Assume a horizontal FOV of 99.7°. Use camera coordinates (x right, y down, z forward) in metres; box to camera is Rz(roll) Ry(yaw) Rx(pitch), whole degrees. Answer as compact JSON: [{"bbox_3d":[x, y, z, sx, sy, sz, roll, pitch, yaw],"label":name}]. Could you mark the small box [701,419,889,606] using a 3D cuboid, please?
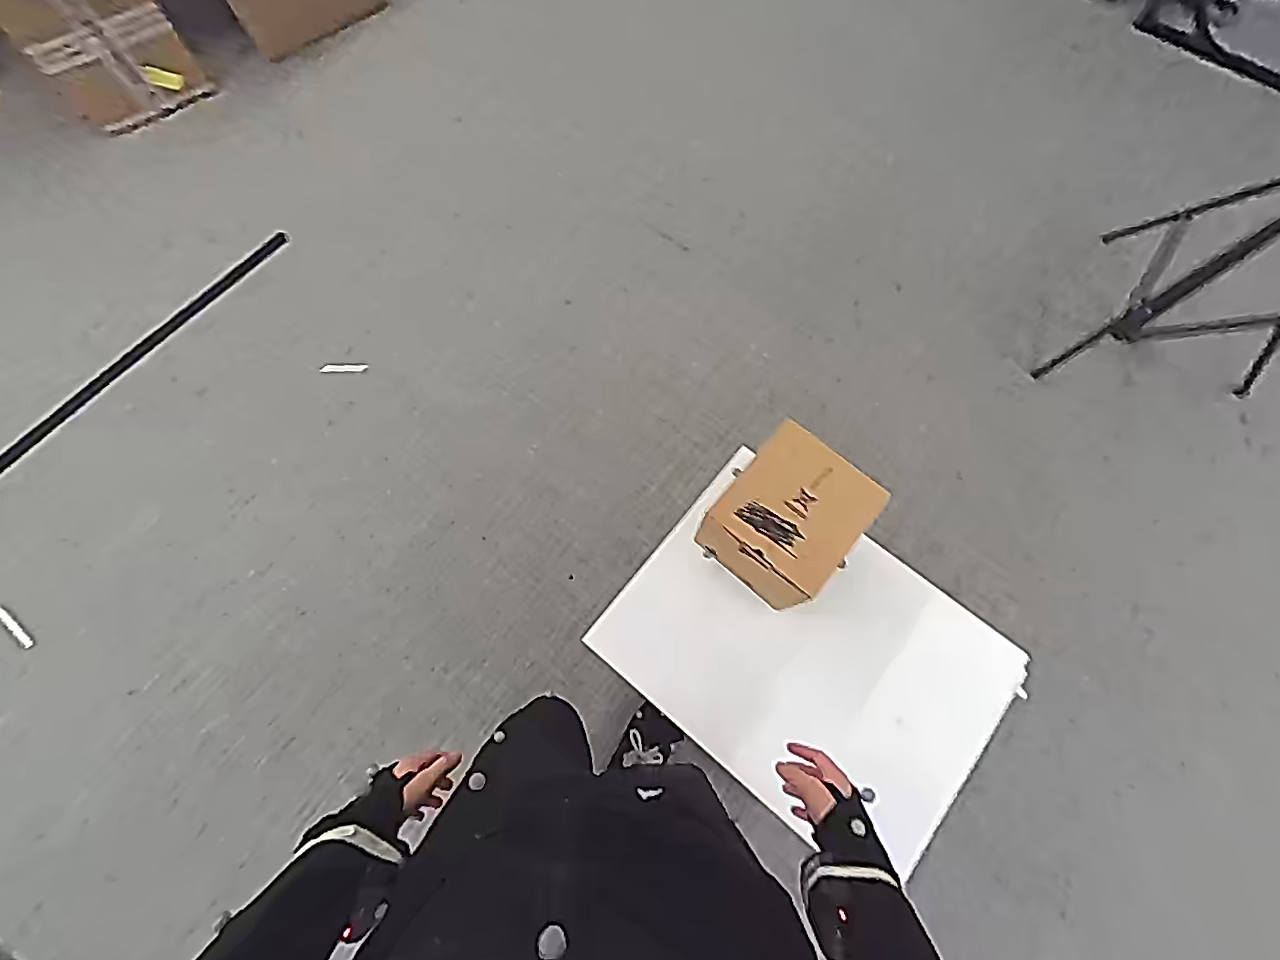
[{"bbox_3d":[0.199,0.055,0.751,0.168,0.176,0.179,40,76,11],"label":"small box"}]
